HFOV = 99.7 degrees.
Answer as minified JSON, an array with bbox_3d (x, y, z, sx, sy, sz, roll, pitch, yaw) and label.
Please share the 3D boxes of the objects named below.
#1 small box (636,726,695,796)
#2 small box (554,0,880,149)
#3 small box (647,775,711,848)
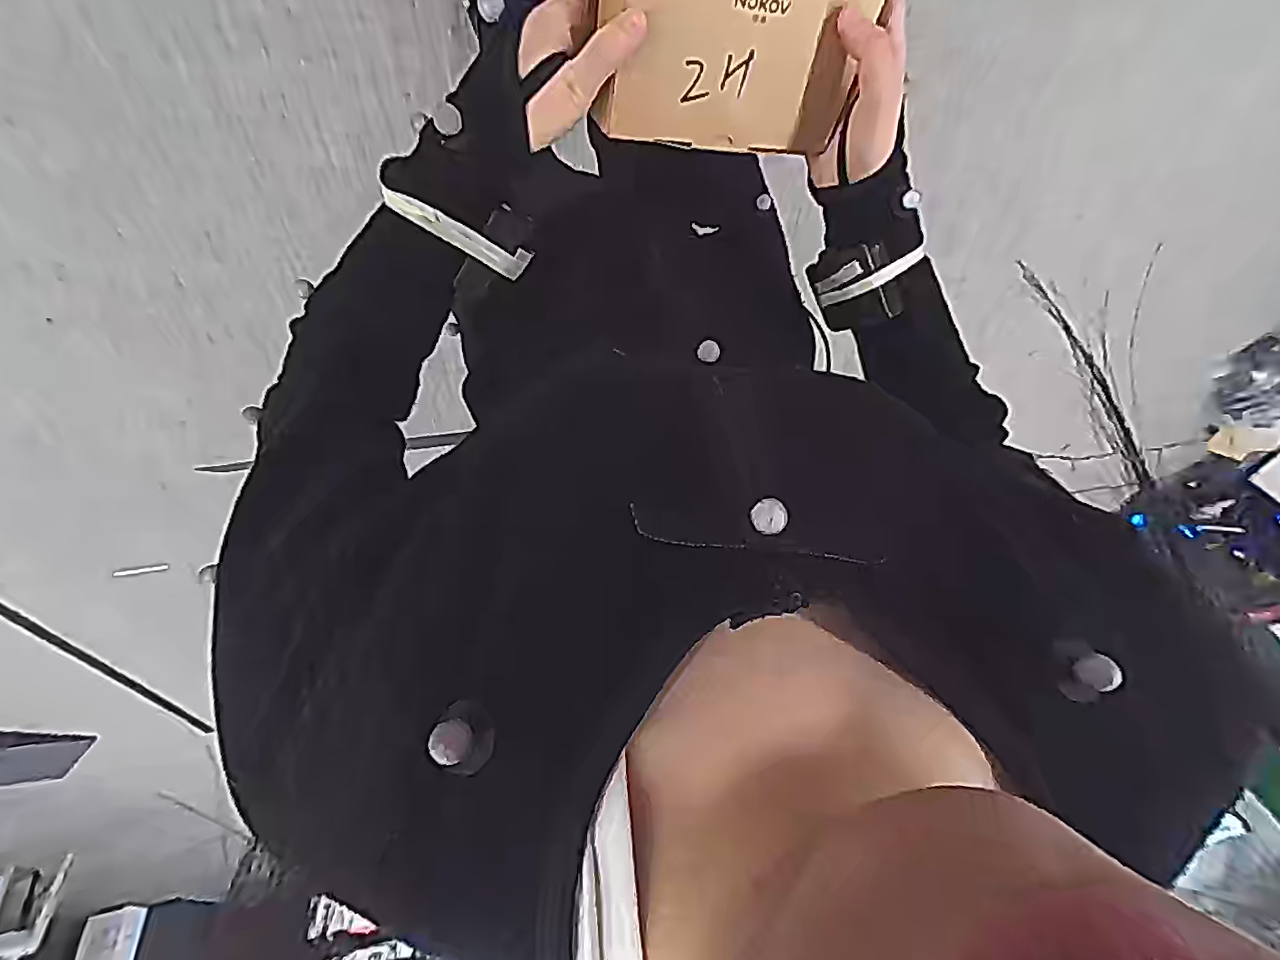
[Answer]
[{"bbox_3d":[0.085,0.998,1.933,0.168,0.176,0.179,-8,139,-12],"label":"small box"},{"bbox_3d":[0.045,-0.345,0.346,0.168,0.176,0.179,-7,142,-19],"label":"small box"},{"bbox_3d":[0.125,1.121,1.832,0.168,0.176,0.179,-8,140,-12],"label":"small box"}]
